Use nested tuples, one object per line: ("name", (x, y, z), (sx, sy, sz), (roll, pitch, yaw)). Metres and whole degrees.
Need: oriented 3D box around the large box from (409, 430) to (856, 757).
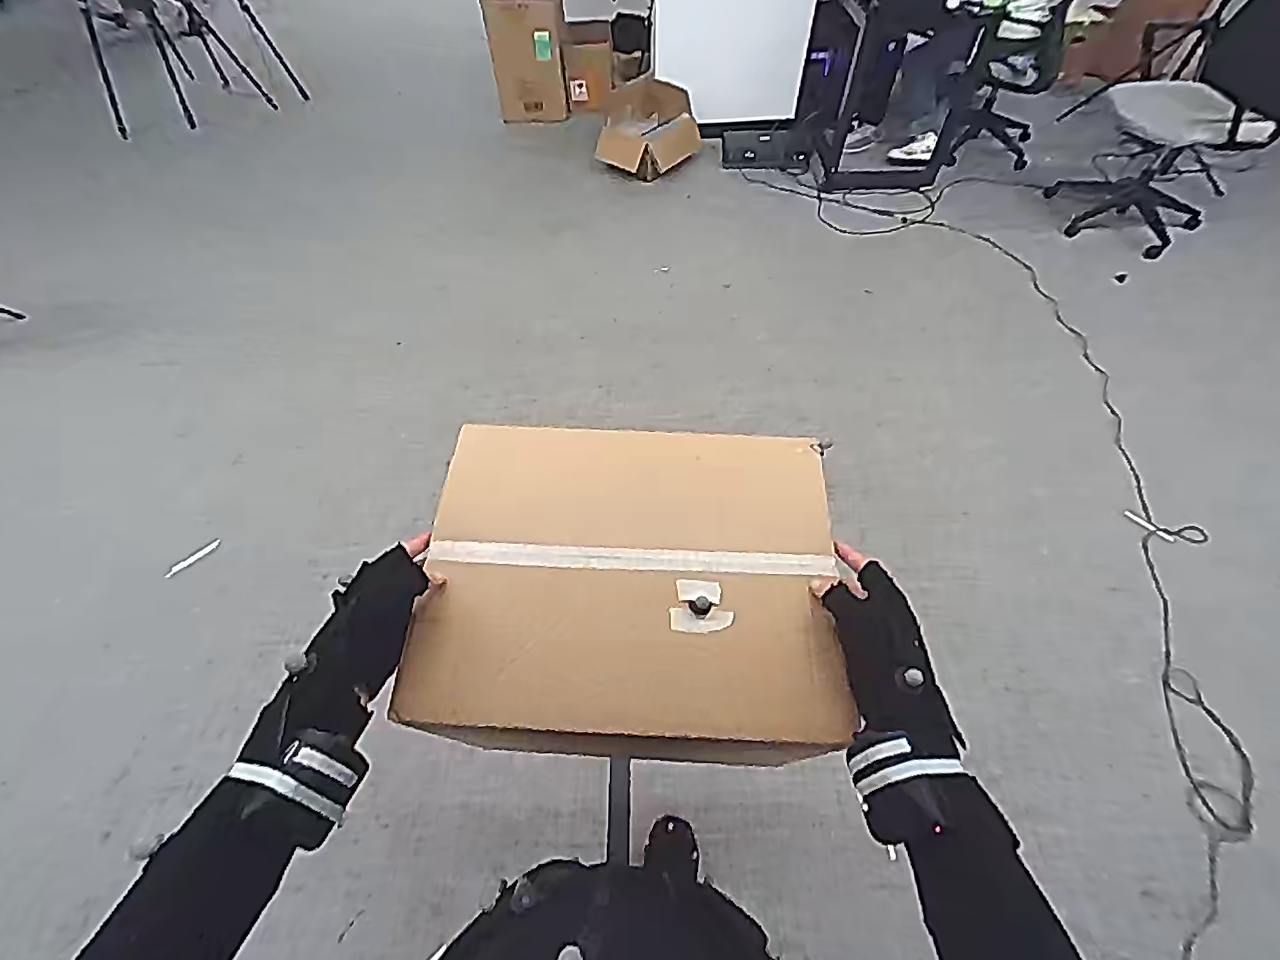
("large box", (-0.006, 0.156, 0.675), (0.408, 0.320, 0.320), (3, 60, 1))
